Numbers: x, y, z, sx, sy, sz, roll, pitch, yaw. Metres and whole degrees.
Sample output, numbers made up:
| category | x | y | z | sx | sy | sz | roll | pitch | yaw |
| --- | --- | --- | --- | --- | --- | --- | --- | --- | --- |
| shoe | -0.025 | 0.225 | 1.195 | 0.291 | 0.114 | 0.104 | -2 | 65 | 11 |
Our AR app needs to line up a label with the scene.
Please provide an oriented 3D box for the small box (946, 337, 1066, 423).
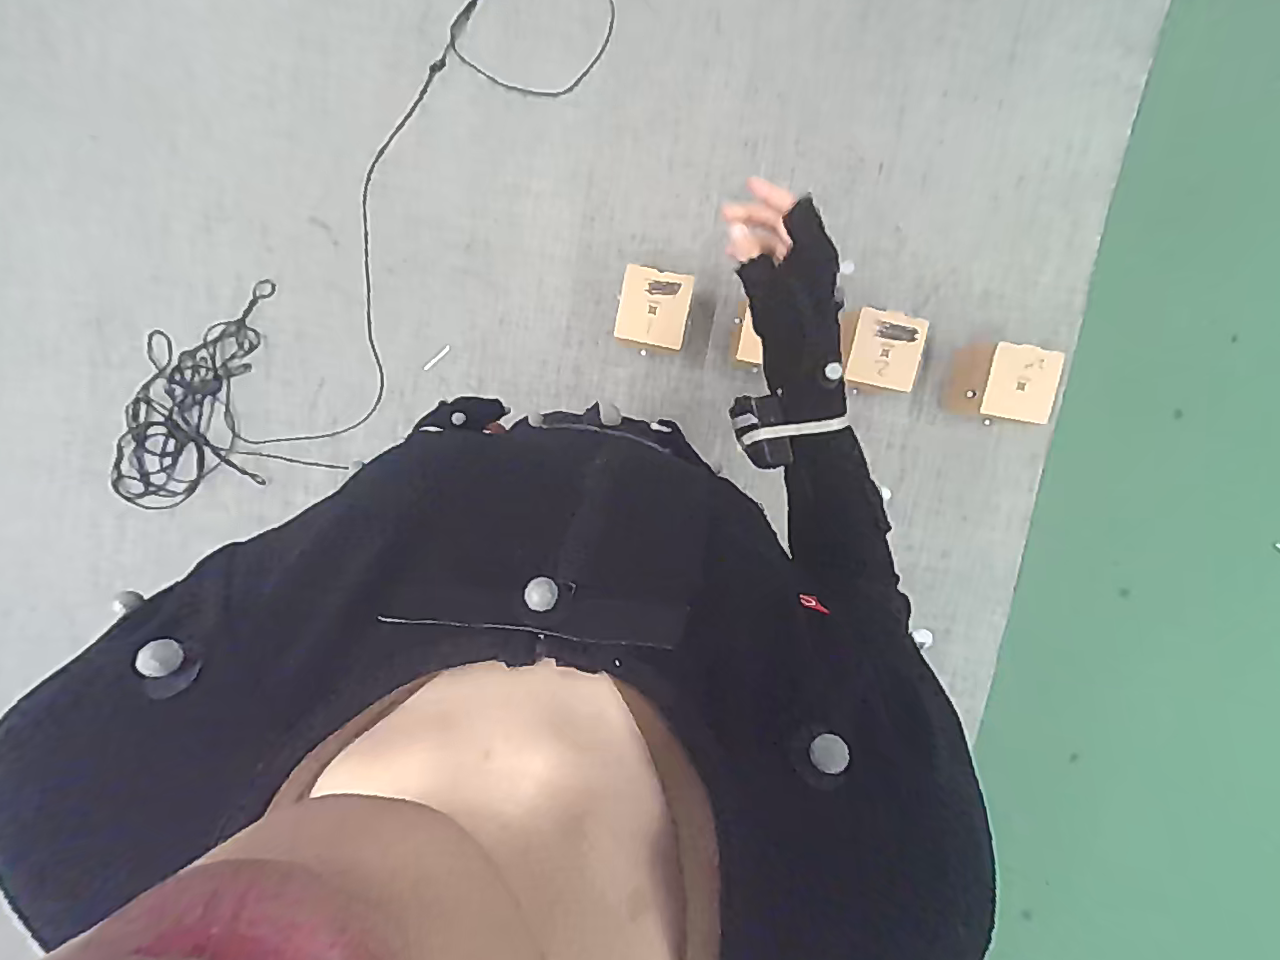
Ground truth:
| category | x | y | z | sx | sy | sz | roll | pitch | yaw |
| --- | --- | --- | --- | --- | --- | --- | --- | --- | --- |
| small box | 0.901 | -0.245 | 1.350 | 0.168 | 0.176 | 0.179 | 11 | 97 | -1 |

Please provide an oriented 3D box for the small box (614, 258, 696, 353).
| category | x | y | z | sx | sy | sz | roll | pitch | yaw |
| --- | --- | --- | --- | --- | --- | --- | --- | --- | --- |
| small box | 0.036 | -0.424 | 1.342 | 0.168 | 0.176 | 0.179 | 12 | 98 | 0 |

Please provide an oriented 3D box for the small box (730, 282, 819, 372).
| category | x | y | z | sx | sy | sz | roll | pitch | yaw |
| --- | --- | --- | --- | --- | --- | --- | --- | --- | --- |
| small box | 0.325 | -0.371 | 1.345 | 0.168 | 0.176 | 0.179 | 10 | 96 | 0 |
